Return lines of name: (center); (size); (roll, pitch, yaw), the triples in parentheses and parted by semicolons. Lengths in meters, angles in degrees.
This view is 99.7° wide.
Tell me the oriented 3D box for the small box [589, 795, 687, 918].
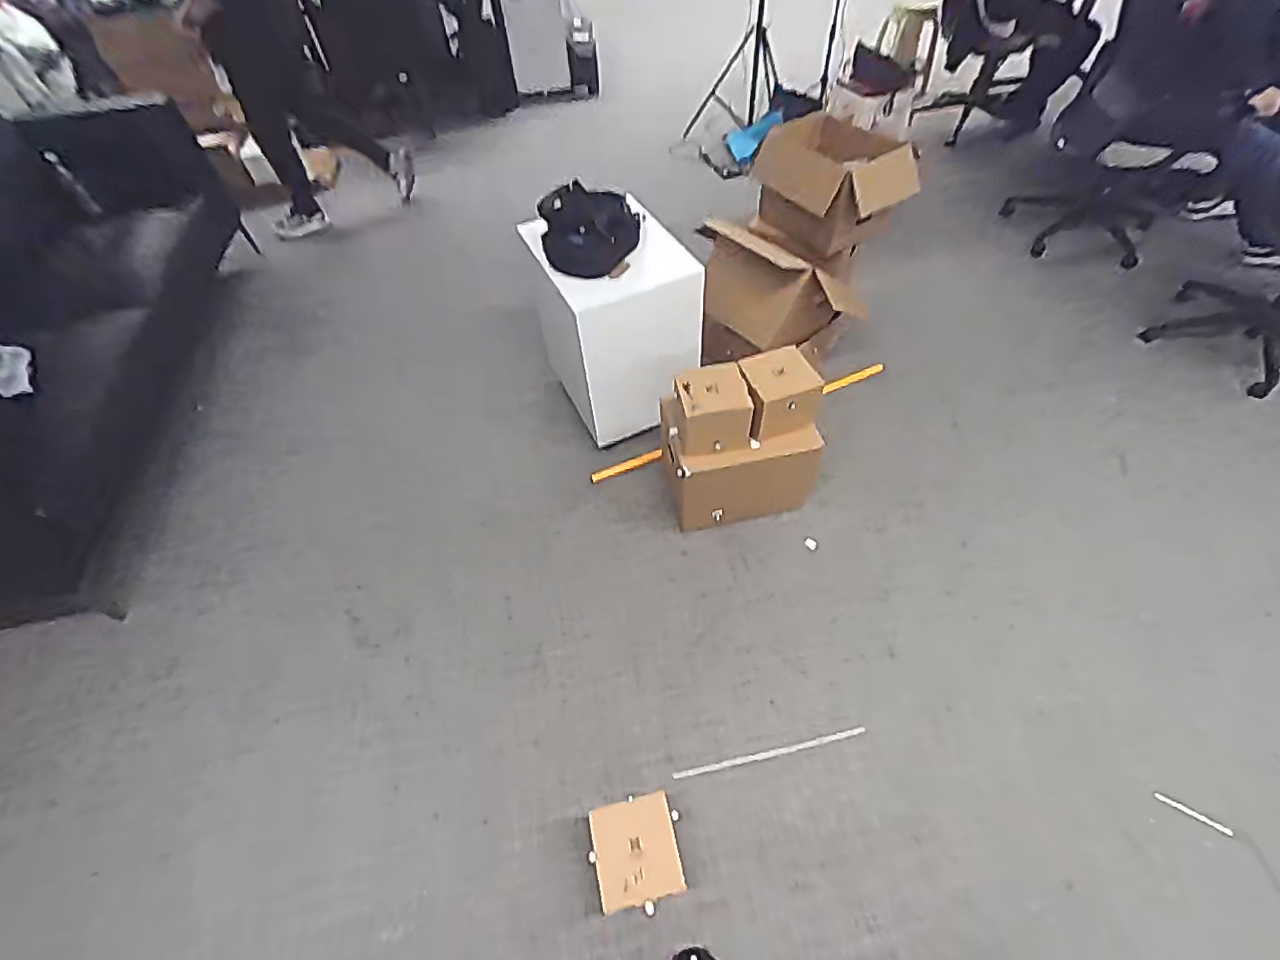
small box: (-0.005, 0.787, 1.130); (0.168, 0.176, 0.179); (-12, 53, -5)
